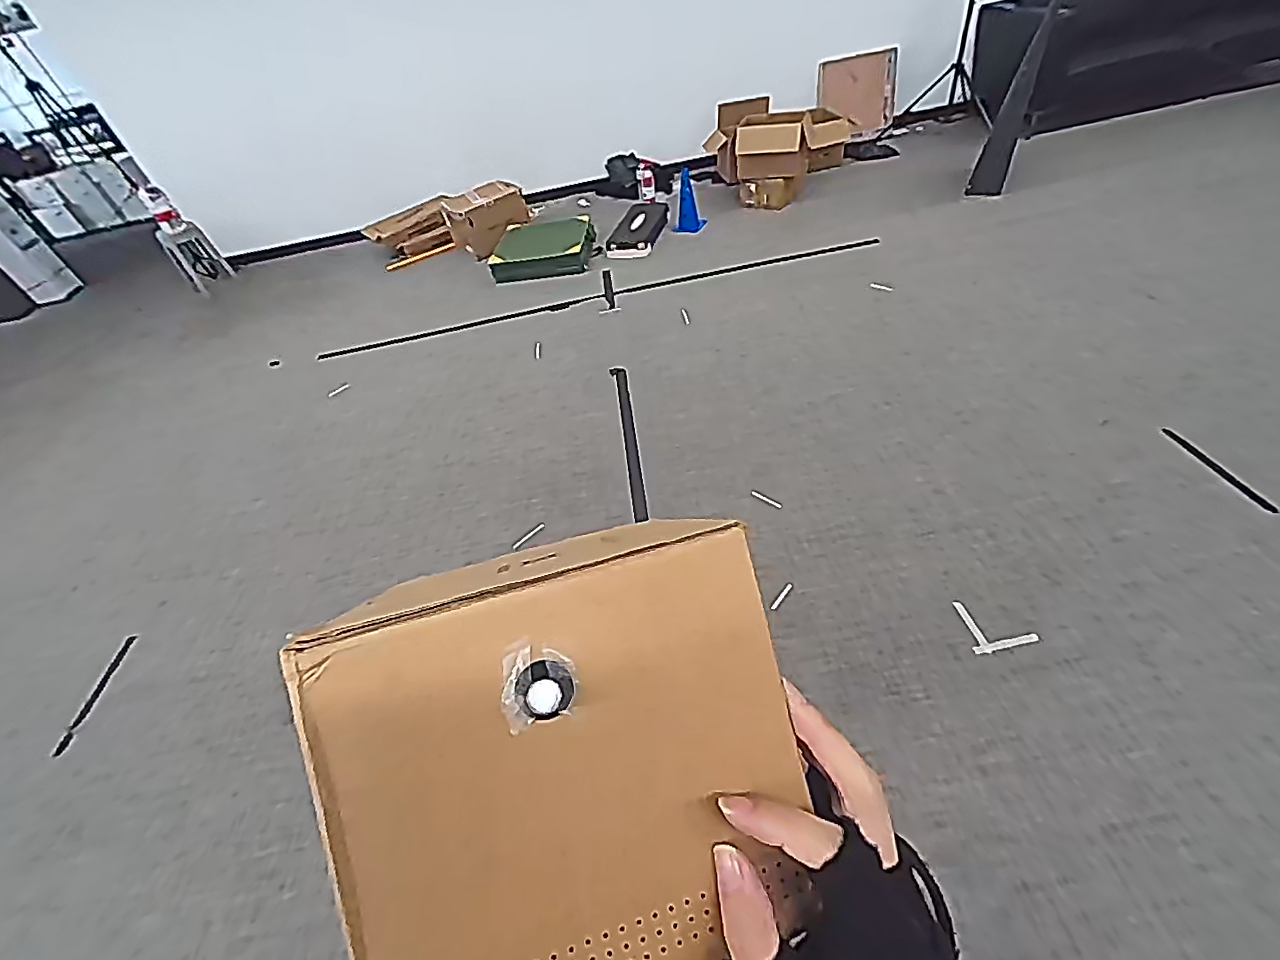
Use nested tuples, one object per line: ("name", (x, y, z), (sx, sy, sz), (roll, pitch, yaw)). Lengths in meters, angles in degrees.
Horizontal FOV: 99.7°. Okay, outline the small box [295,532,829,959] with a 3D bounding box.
("small box", (-0.033, 0.130, 0.279), (0.179, 0.168, 0.176), (-13, 89, -11))
